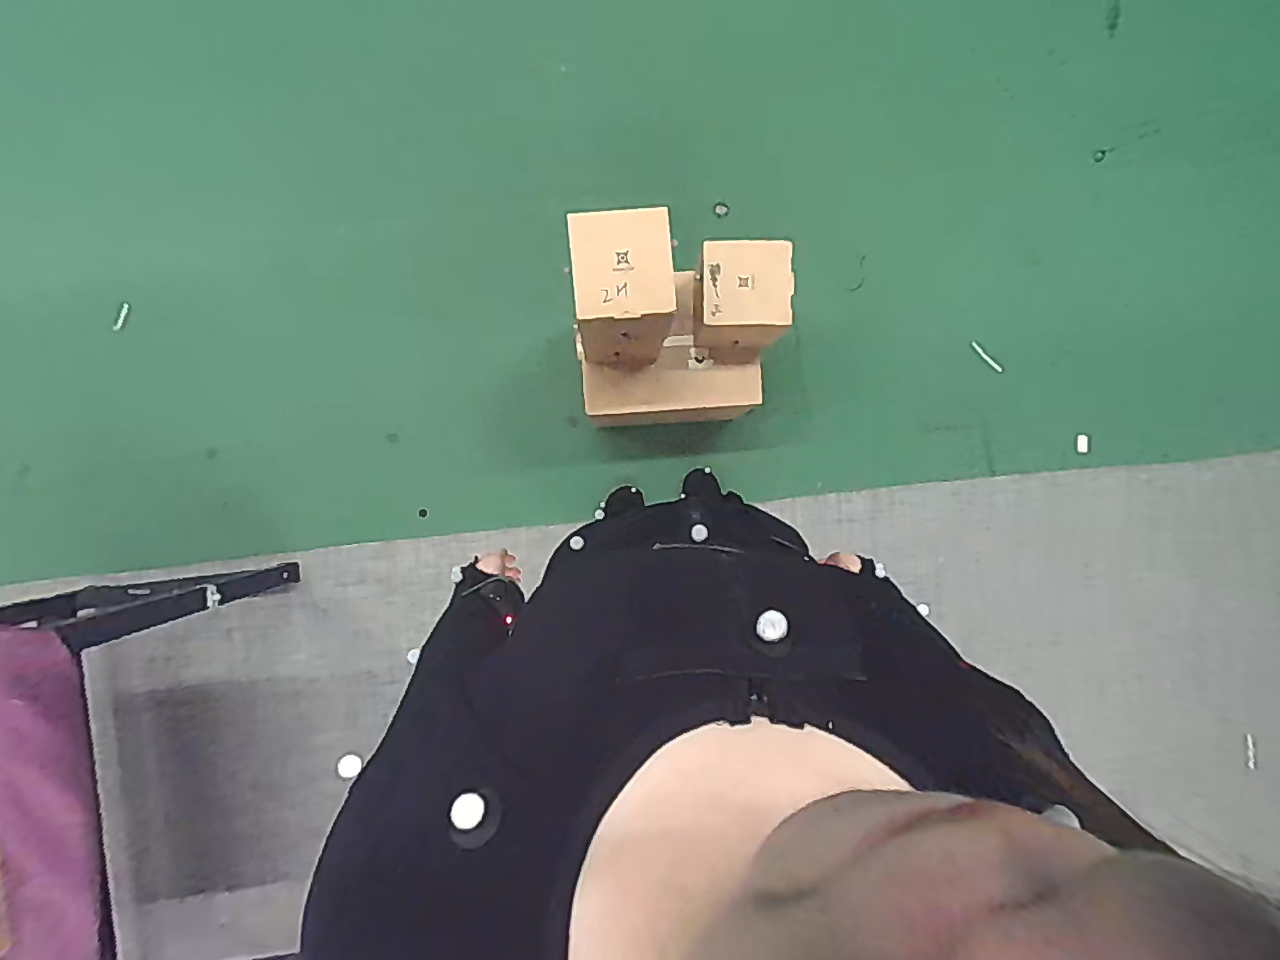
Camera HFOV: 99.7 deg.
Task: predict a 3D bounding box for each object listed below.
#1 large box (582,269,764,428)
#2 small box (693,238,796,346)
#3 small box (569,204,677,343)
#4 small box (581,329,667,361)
[{"bbox_3d":[0.063,-0.312,1.352,0.408,0.320,0.320,-4,91,-2],"label":"large box"},{"bbox_3d":[0.208,-0.377,1.110,0.179,0.176,0.168,1,89,-1],"label":"small box"},{"bbox_3d":[-0.031,-0.350,0.942,0.168,0.176,0.179,-5,91,-2],"label":"small box"},{"bbox_3d":[-0.039,-0.353,1.107,0.168,0.176,0.179,-4,90,-2],"label":"small box"}]
